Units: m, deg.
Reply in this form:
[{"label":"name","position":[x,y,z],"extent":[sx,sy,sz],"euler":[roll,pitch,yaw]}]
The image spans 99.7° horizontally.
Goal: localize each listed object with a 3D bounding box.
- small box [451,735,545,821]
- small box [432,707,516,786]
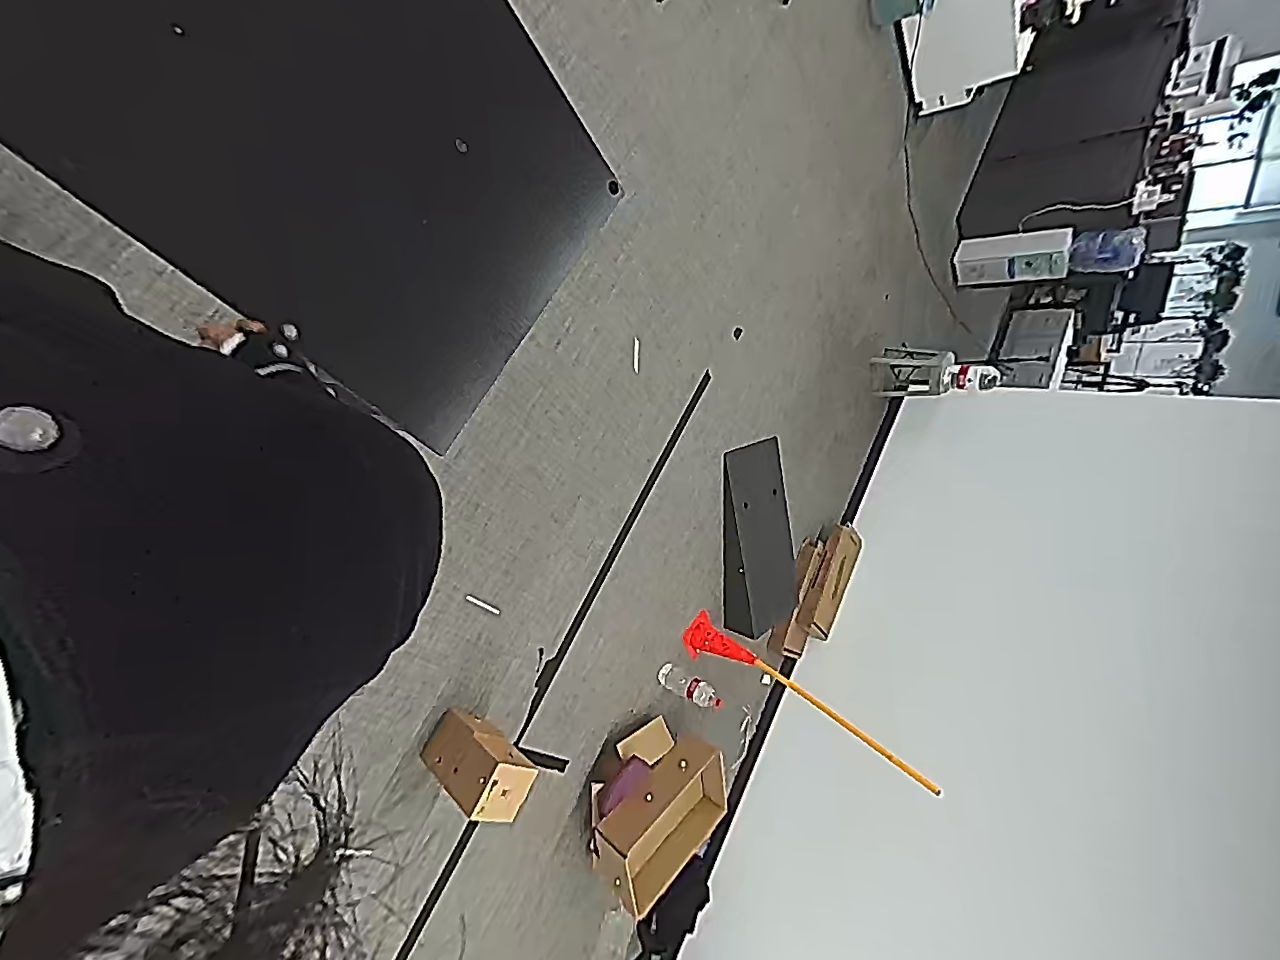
[{"label":"small box","position":[-0.430,0.898,1.635],"extent":[0.179,0.176,0.168],"euler":[42,70,-44]},{"label":"small box","position":[-0.544,0.869,1.749],"extent":[0.168,0.176,0.179],"euler":[44,68,-43]}]
